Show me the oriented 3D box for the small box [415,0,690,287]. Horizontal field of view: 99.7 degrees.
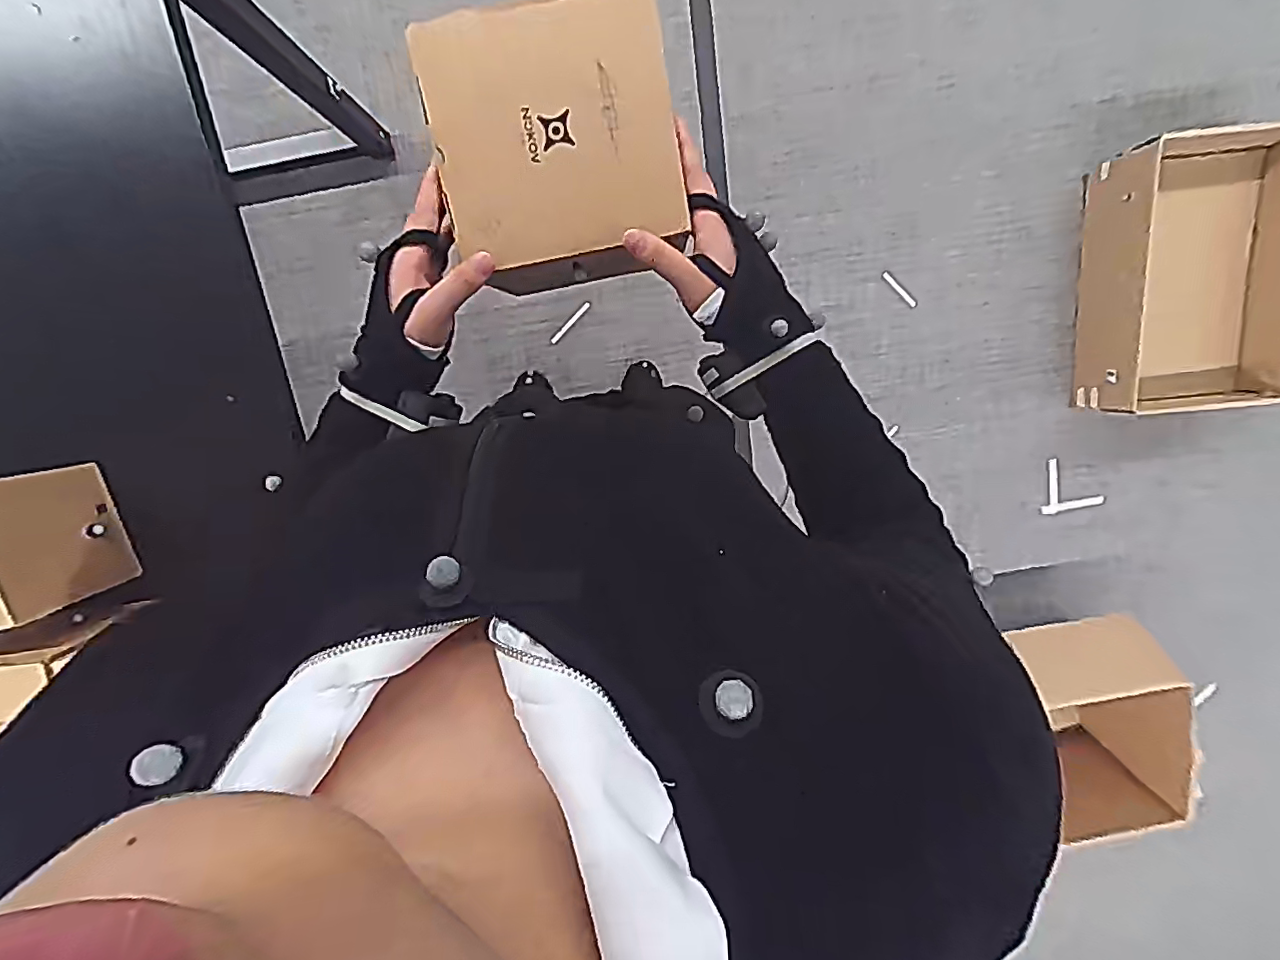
[{"bbox_3d":[-0.057,-0.270,0.467,0.179,0.176,0.168,-10,105,4],"label":"small box"}]
